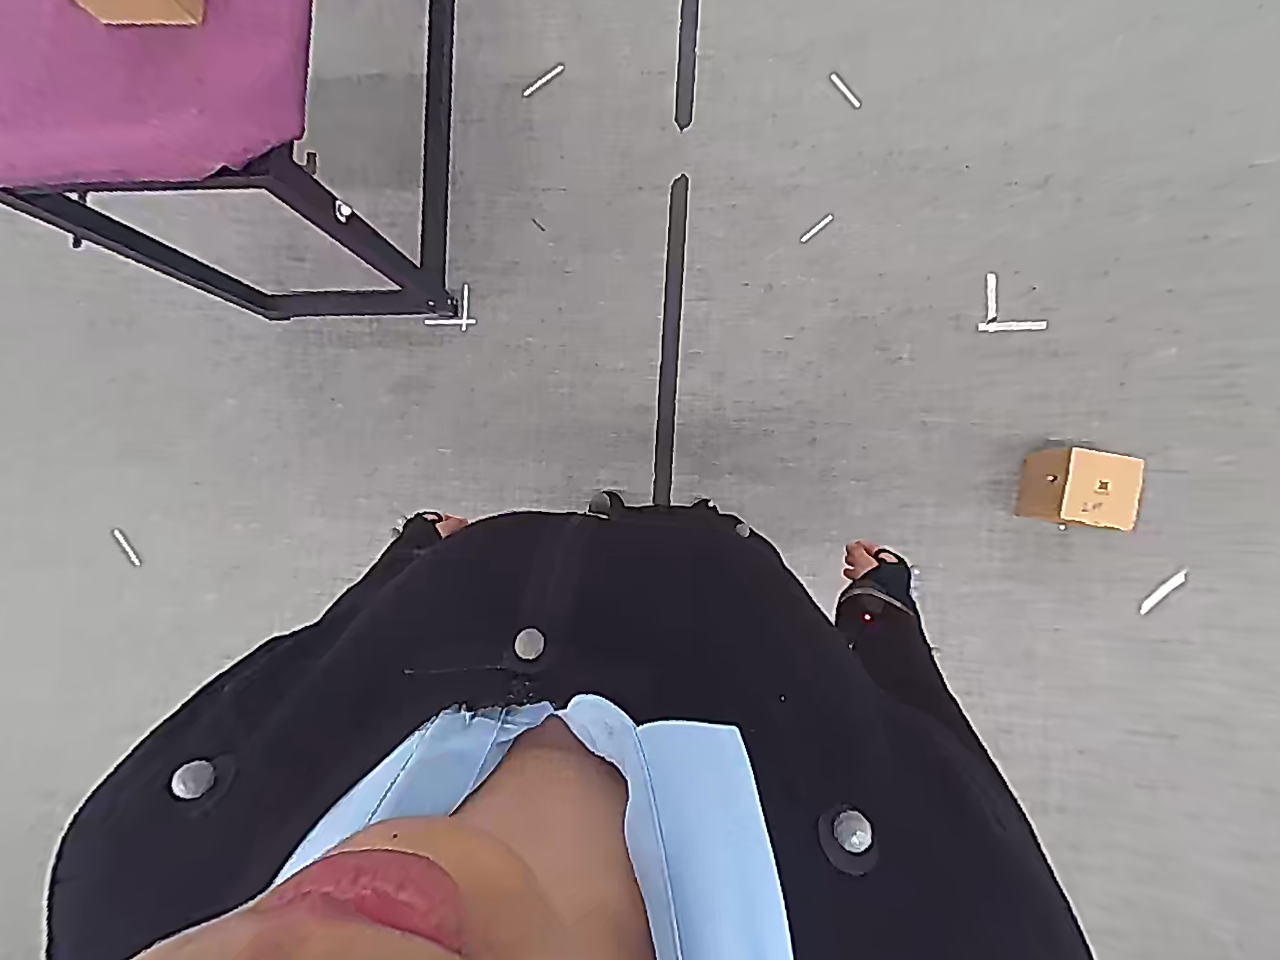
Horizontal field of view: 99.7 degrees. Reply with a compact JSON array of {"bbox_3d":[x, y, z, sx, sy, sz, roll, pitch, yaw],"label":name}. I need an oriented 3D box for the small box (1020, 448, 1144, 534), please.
[{"bbox_3d":[1.091,0.028,1.348,0.168,0.176,0.179,11,89,5],"label":"small box"}]
